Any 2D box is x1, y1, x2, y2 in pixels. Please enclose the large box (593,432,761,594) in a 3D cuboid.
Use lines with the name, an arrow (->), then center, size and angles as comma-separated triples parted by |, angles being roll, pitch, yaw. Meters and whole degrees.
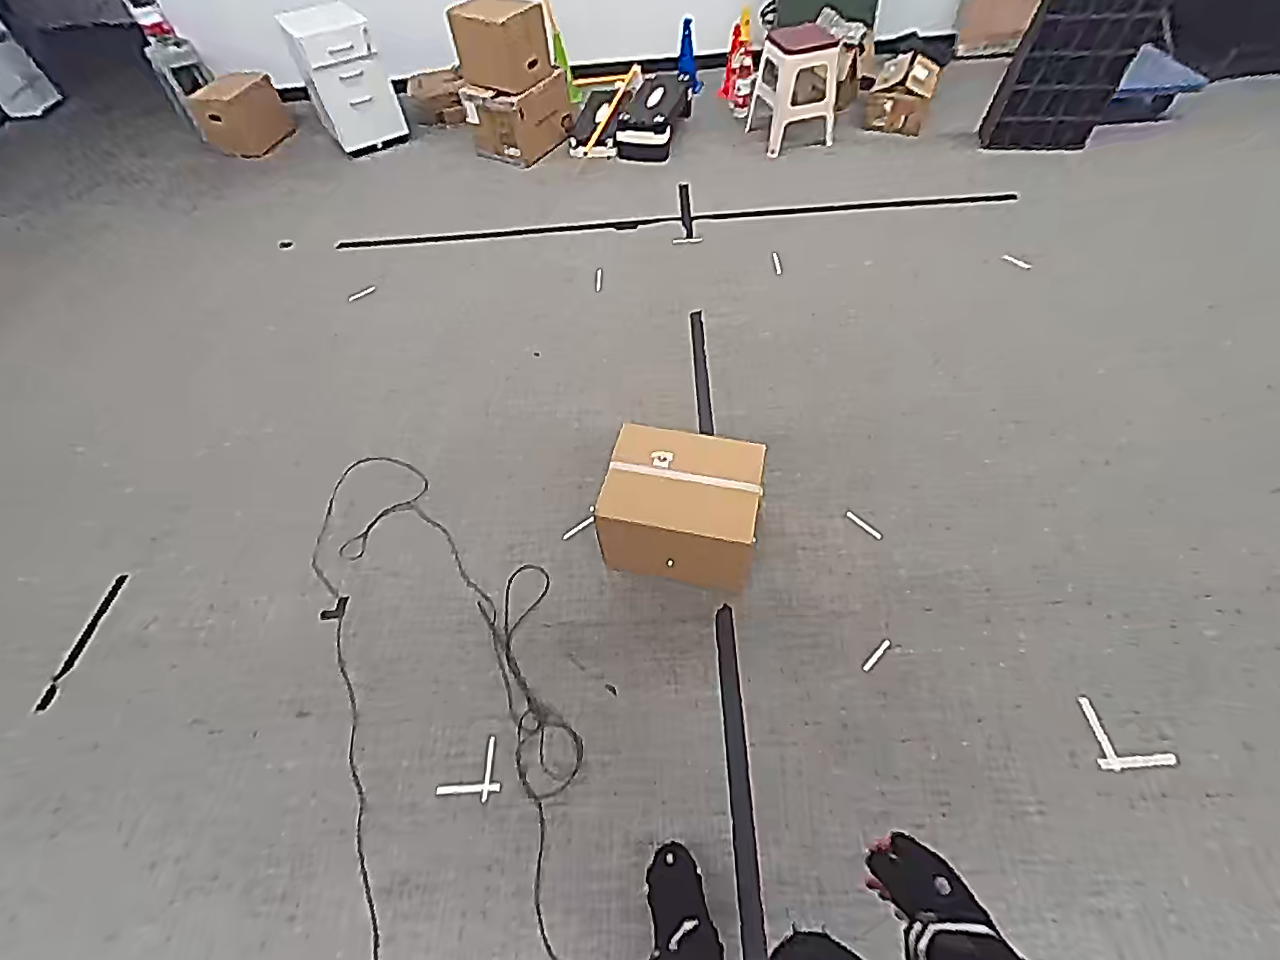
large box -> 0.118, 0.098, 1.542 | 0.408, 0.320, 0.320 | 9, 56, 11
